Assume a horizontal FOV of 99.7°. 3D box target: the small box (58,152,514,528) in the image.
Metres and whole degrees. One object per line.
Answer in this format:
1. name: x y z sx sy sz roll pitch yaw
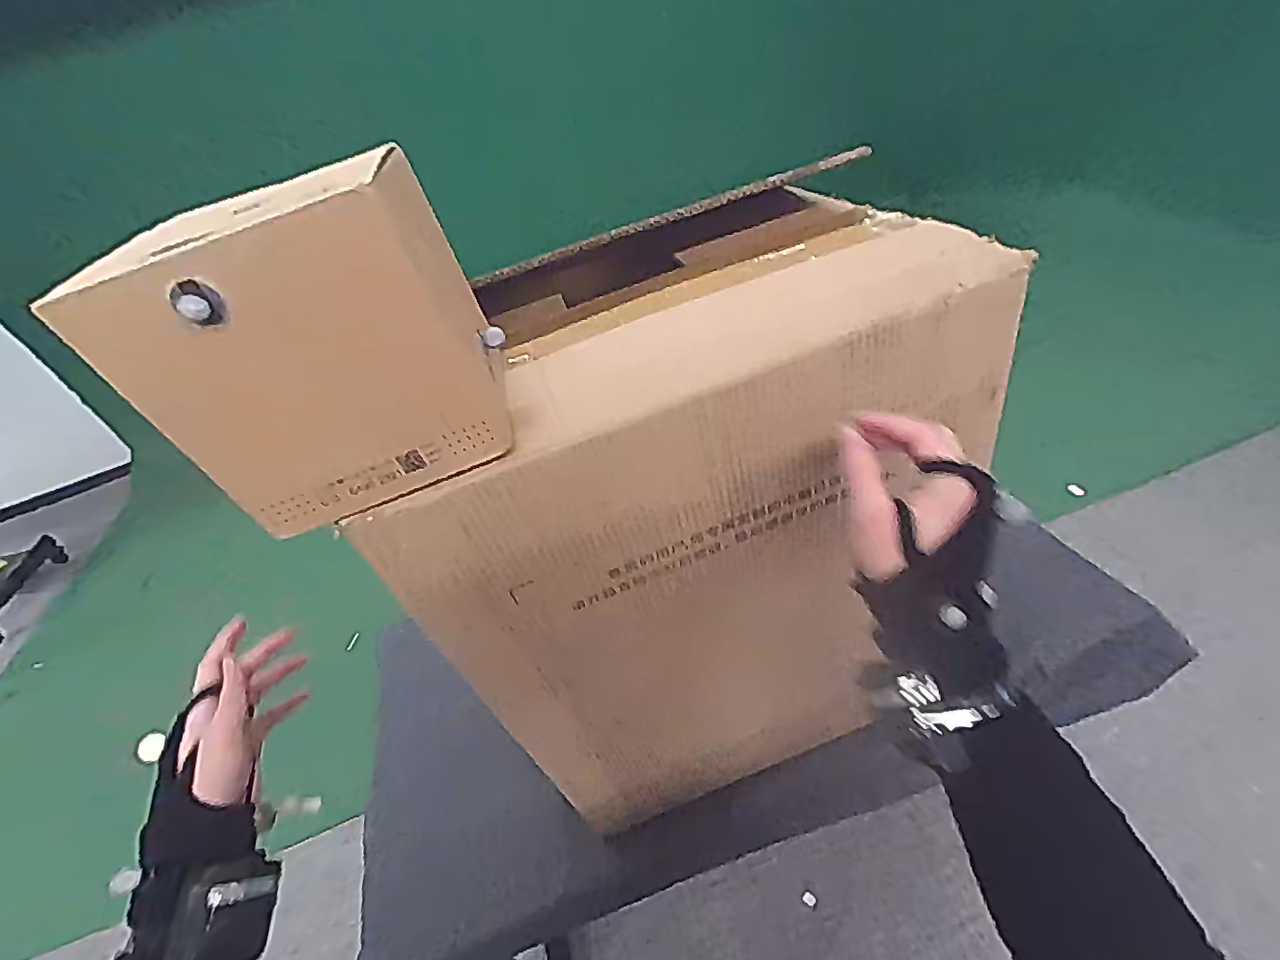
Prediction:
1. small box: -0.199 -0.099 0.372 0.168 0.176 0.179 -22 39 -1
